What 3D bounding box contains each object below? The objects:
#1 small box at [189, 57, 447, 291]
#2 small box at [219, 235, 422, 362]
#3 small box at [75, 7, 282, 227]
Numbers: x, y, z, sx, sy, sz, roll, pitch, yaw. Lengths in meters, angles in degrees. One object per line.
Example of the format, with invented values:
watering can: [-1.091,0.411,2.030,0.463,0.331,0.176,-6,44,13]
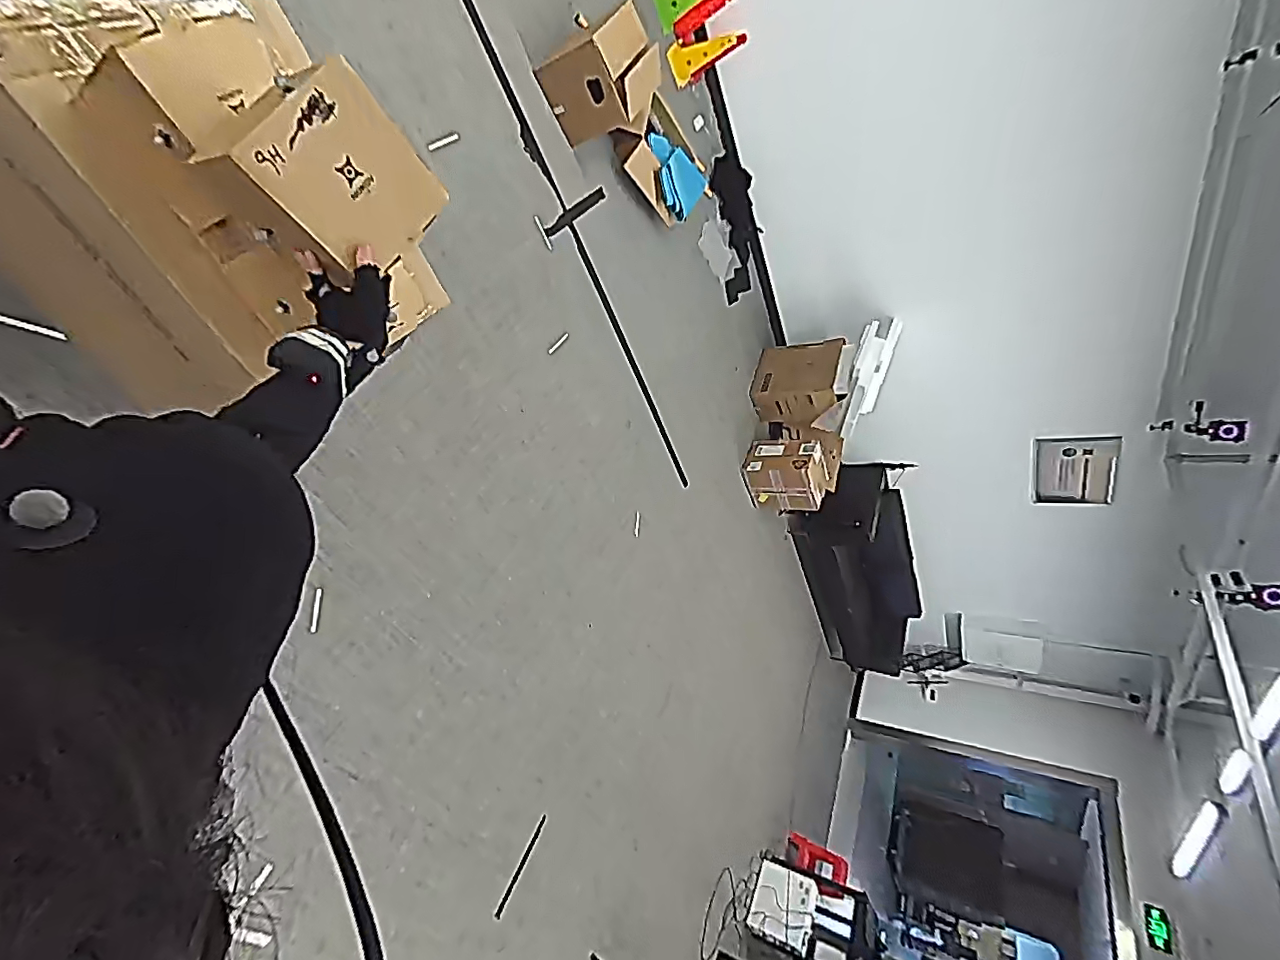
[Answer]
small box: [-0.380,-0.358,0.649,0.168,0.176,0.179,-57,142,-16]
small box: [-0.486,-0.296,0.831,0.168,0.176,0.179,-57,132,-39]
small box: [-0.567,-0.465,0.710,0.168,0.176,0.179,-60,138,-35]
